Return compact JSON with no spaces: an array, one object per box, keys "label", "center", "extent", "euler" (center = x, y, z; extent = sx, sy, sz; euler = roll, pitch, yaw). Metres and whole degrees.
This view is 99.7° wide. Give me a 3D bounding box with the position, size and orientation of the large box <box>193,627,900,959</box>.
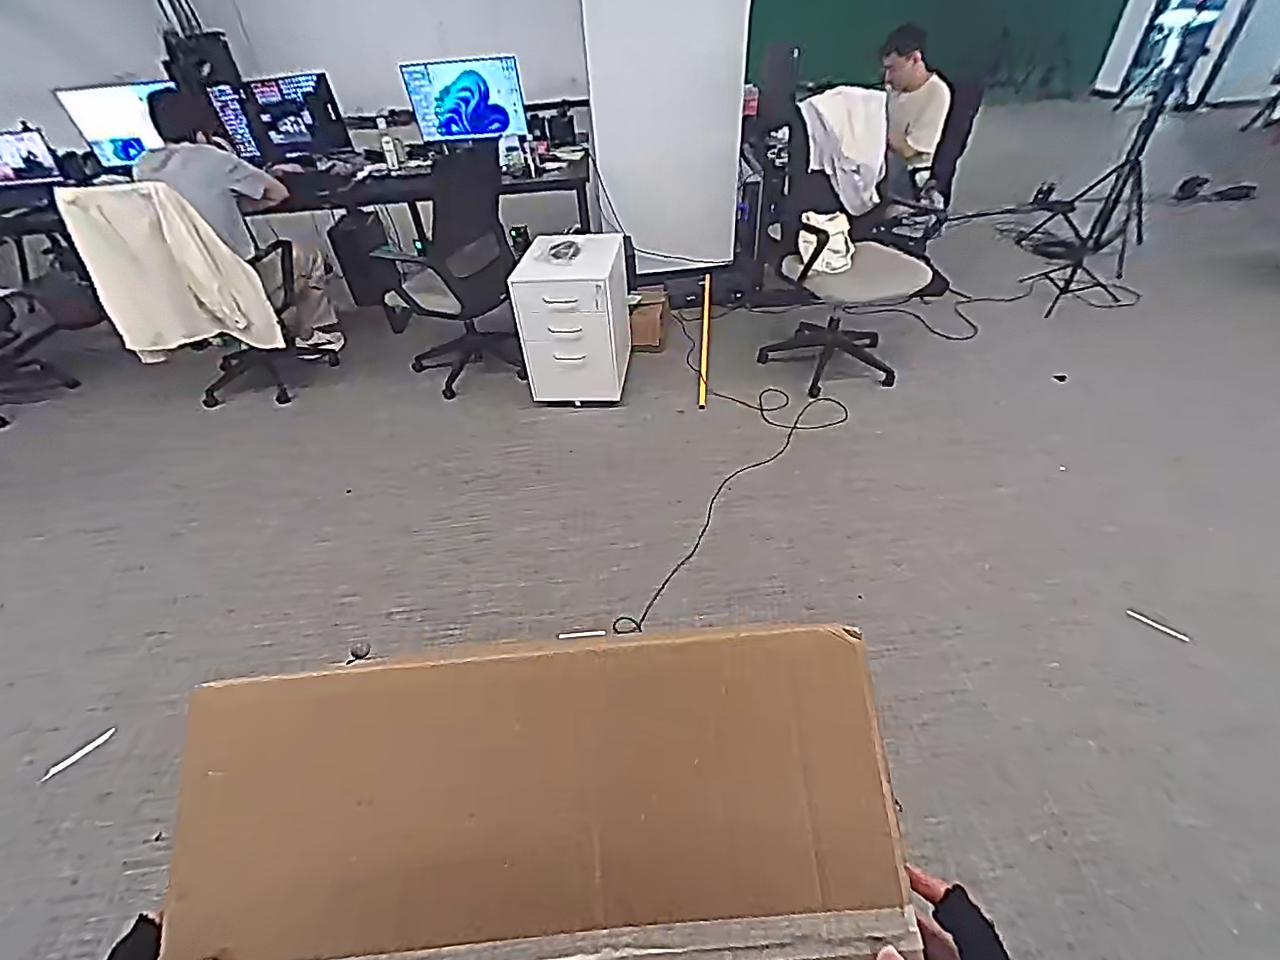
[{"label":"large box","center":[-0.053,0.300,0.446],"extent":[0.408,0.320,0.320],"euler":[-5,76,0]}]
